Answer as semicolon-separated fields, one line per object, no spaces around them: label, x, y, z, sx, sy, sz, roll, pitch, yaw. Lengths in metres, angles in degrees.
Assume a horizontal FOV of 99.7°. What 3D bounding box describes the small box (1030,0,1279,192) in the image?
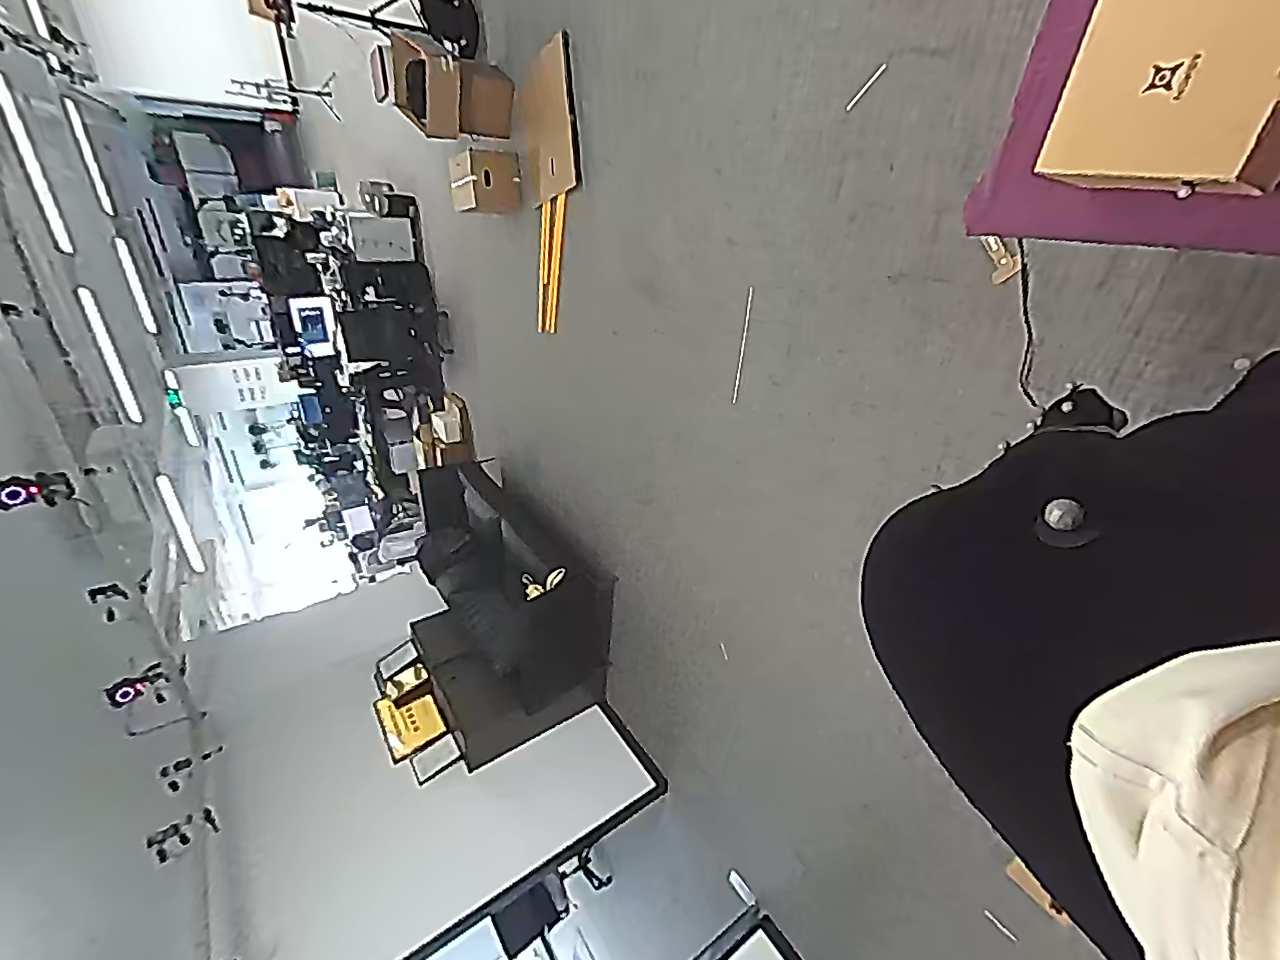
small box;0.563;-0.401;0.559;0.179;0.176;0.168;36;130;43
